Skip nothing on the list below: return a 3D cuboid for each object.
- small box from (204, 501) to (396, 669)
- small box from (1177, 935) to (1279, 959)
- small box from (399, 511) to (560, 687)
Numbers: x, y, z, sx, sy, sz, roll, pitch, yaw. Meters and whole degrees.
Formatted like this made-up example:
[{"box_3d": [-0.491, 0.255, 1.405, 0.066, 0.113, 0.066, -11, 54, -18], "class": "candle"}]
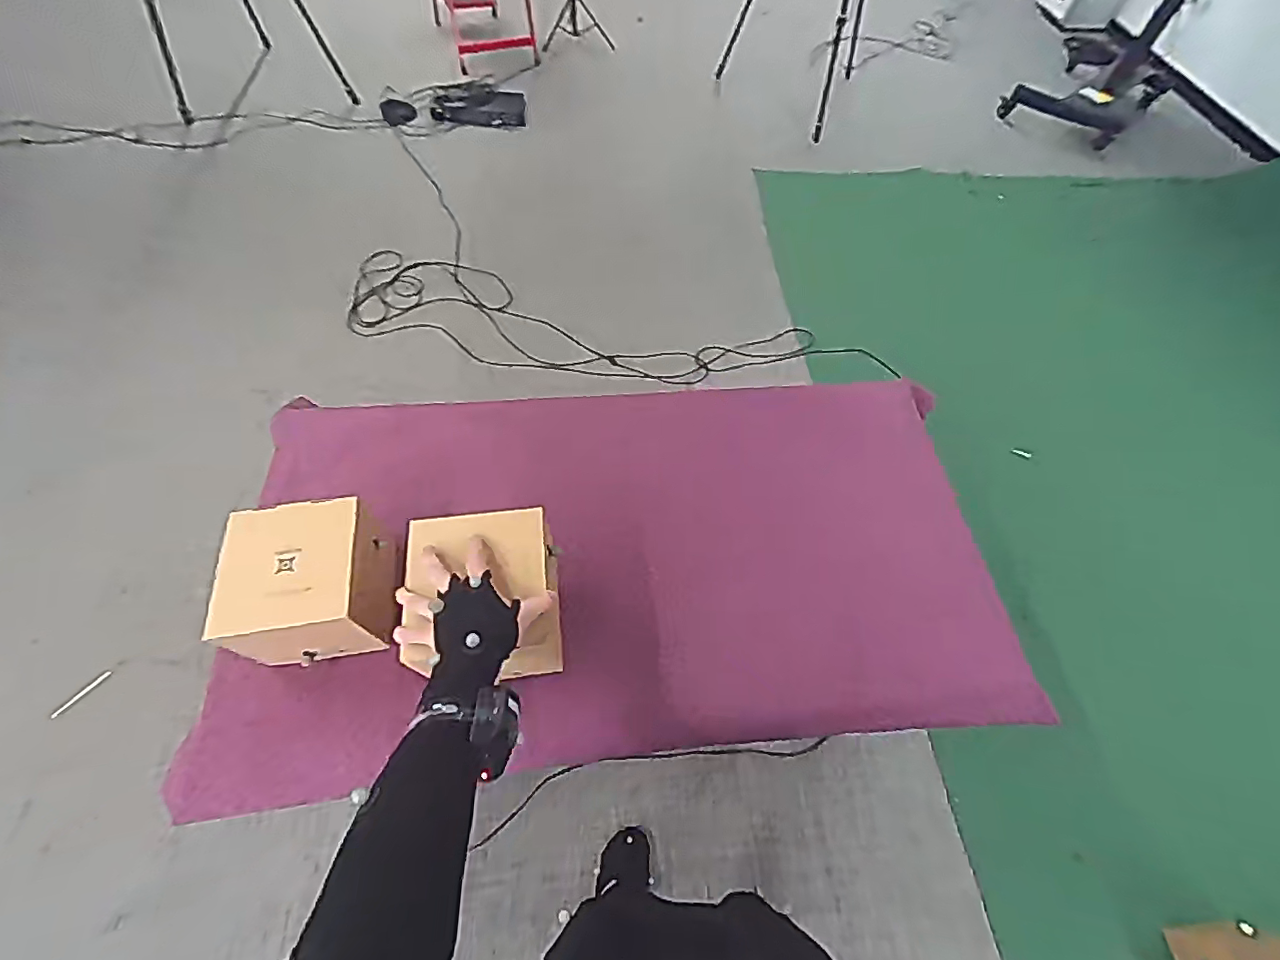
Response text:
[{"box_3d": [-0.458, 0.152, 0.763, 0.168, 0.176, 0.179, -7, 61, -7], "class": "small box"}, {"box_3d": [1.324, 1.102, 1.158, 0.179, 0.176, 0.168, -2, 59, -5], "class": "small box"}, {"box_3d": [-0.198, 0.160, 0.712, 0.168, 0.176, 0.179, -5, 61, -5], "class": "small box"}]
